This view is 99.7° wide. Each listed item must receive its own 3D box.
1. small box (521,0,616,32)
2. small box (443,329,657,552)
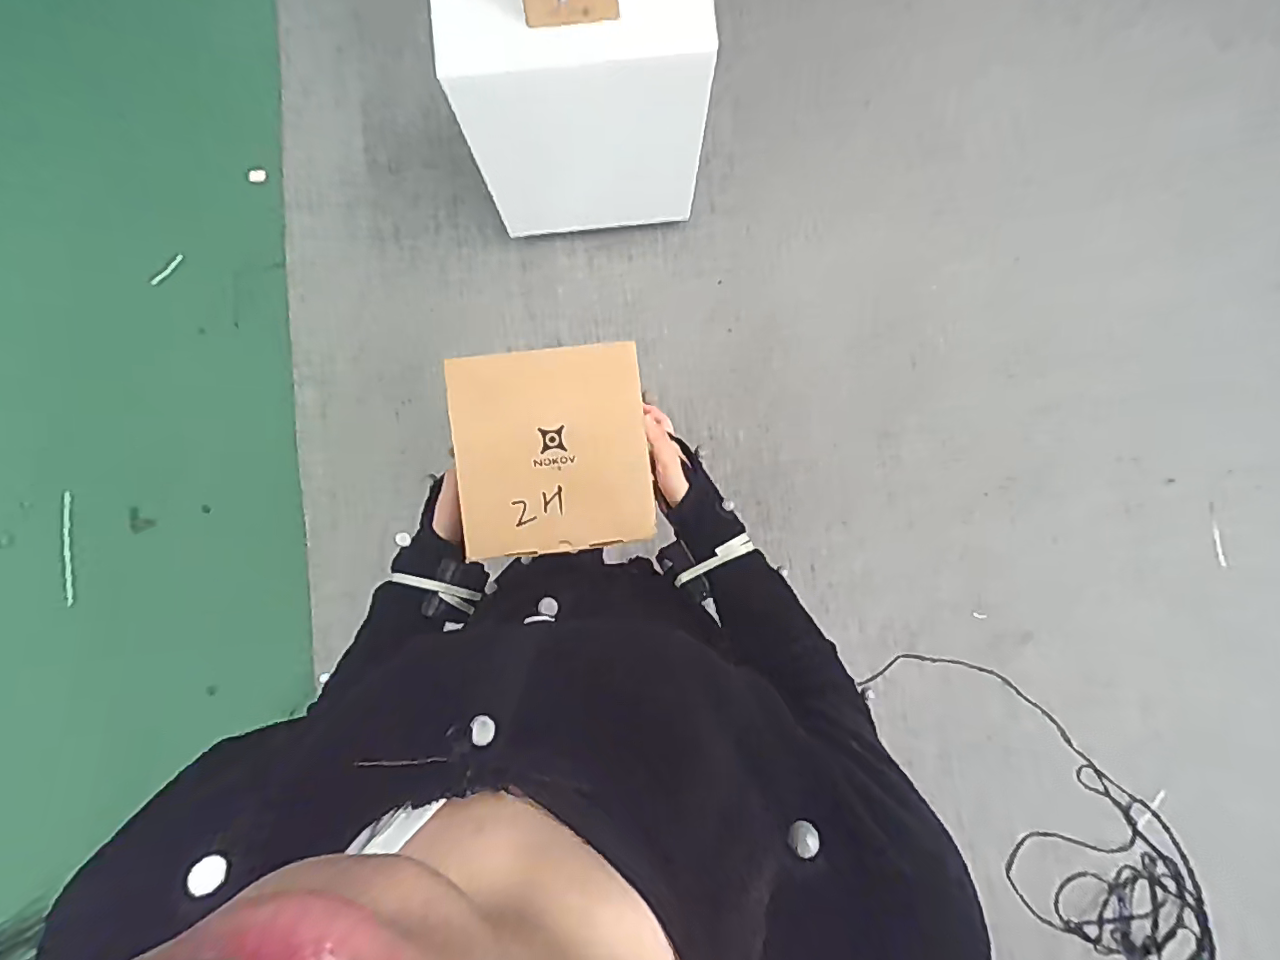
[{"bbox_3d":[-0.130,-0.896,0.890,0.168,0.176,0.179,-7,85,-1],"label":"small box"},{"bbox_3d":[-0.079,-0.031,0.525,0.168,0.176,0.179,-6,89,-3],"label":"small box"}]
